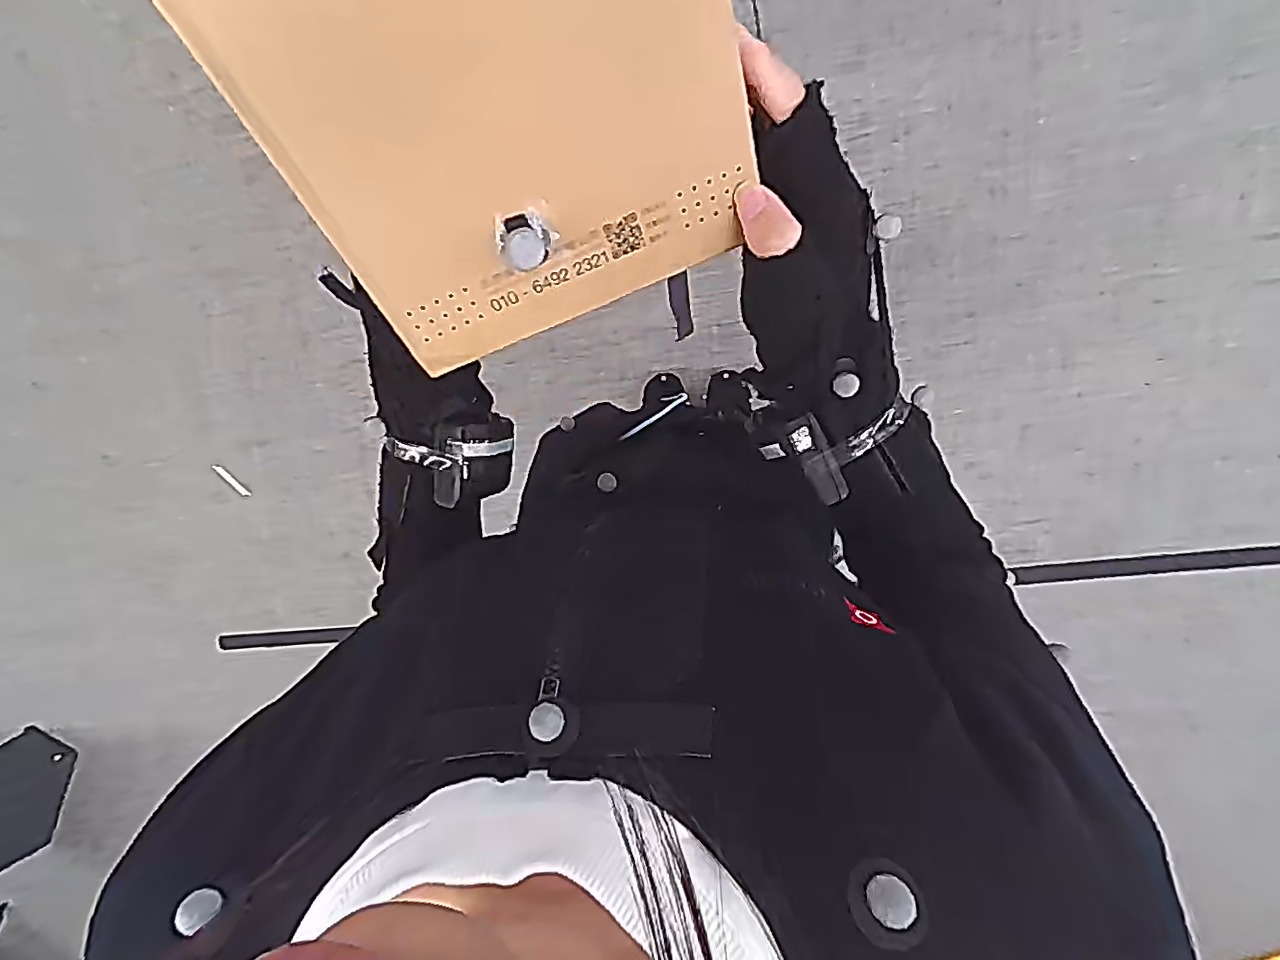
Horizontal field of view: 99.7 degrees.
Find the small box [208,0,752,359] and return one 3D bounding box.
[{"bbox_3d":[-0.062,-0.190,0.264,0.168,0.179,0.176,-24,134,3],"label":"small box"}]
